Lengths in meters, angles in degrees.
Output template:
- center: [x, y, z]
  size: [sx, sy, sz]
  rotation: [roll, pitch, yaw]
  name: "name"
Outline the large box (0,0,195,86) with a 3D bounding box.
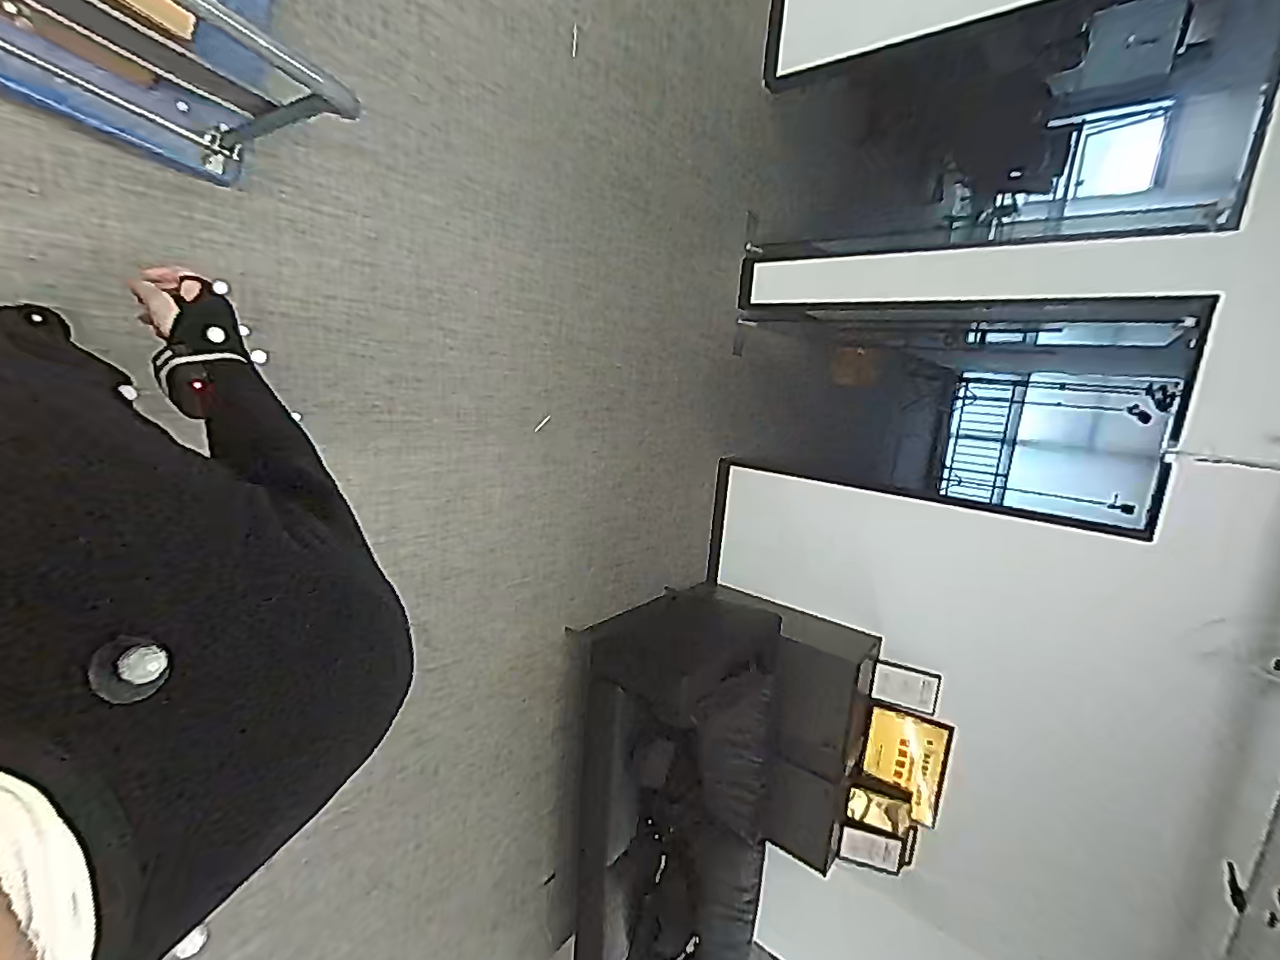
- center: [-0.891, -0.930, 0.821]
  size: [0.320, 0.320, 0.408]
  rotation: [10, 92, -54]
  name: "large box"
